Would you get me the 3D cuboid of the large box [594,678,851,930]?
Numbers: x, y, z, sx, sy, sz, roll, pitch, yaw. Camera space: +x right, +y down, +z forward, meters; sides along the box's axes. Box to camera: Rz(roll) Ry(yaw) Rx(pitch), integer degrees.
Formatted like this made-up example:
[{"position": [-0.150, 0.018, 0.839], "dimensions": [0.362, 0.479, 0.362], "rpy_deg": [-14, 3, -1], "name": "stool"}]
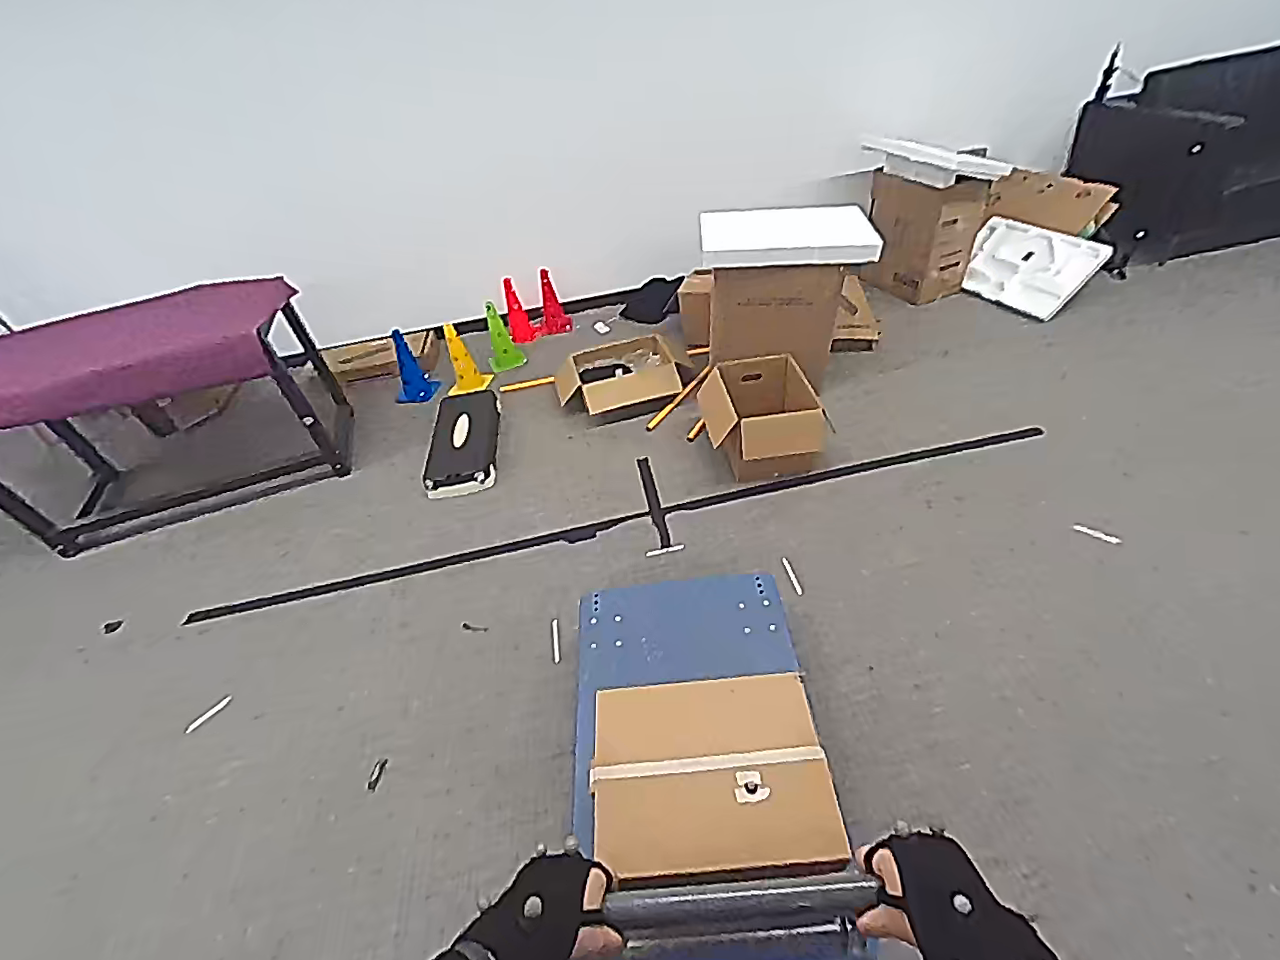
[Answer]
[{"position": [0.130, 0.620, 1.038], "dimensions": [0.408, 0.320, 0.320], "rpy_deg": [-6, 42, 1], "name": "large box"}]
